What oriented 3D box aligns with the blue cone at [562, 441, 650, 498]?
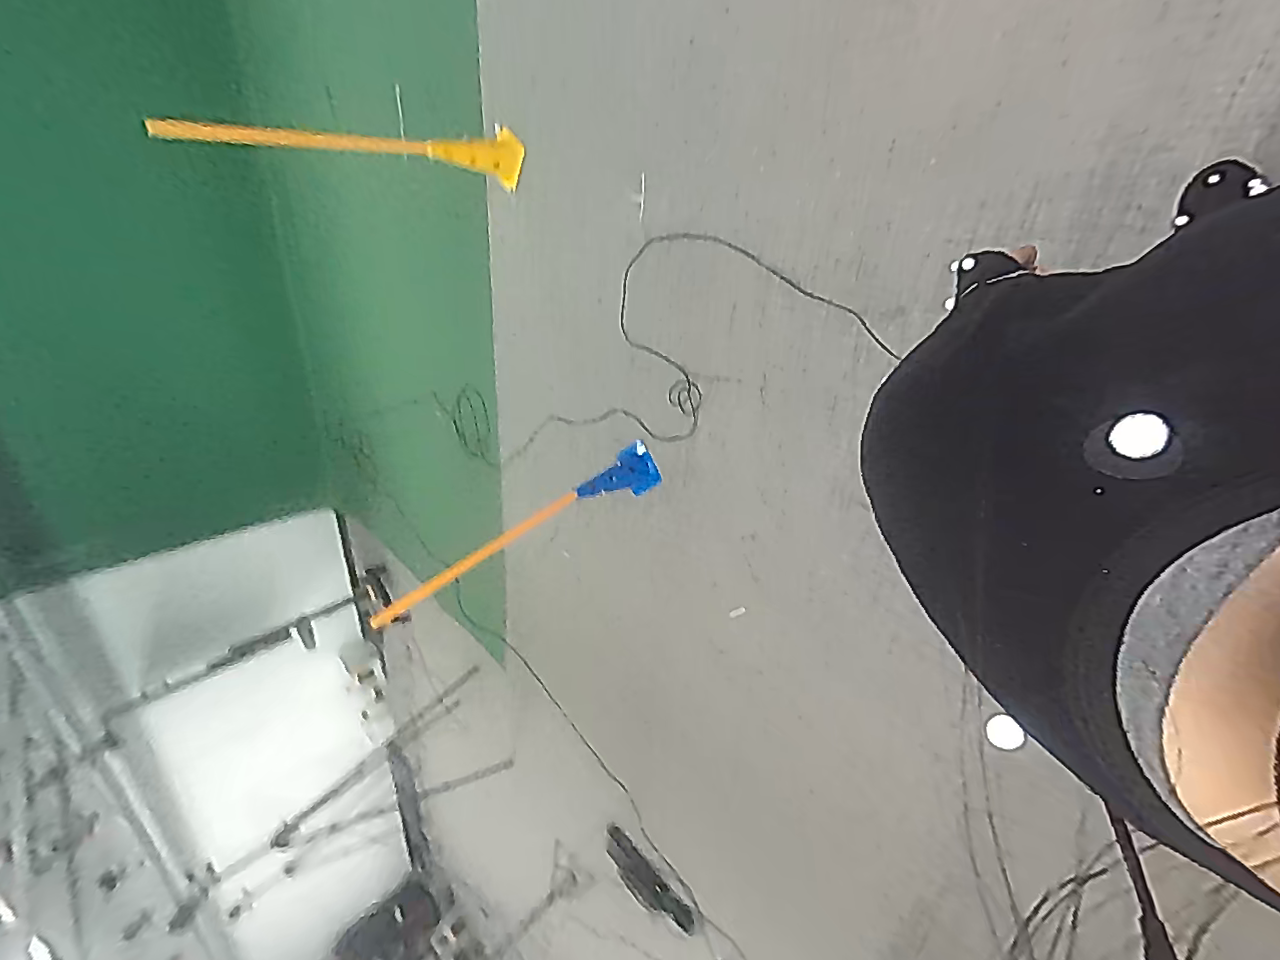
[{"bbox_3d":[-0.154,-0.007,2.149,0.192,0.380,0.193,-33,84,46],"label":"blue cone"}]
